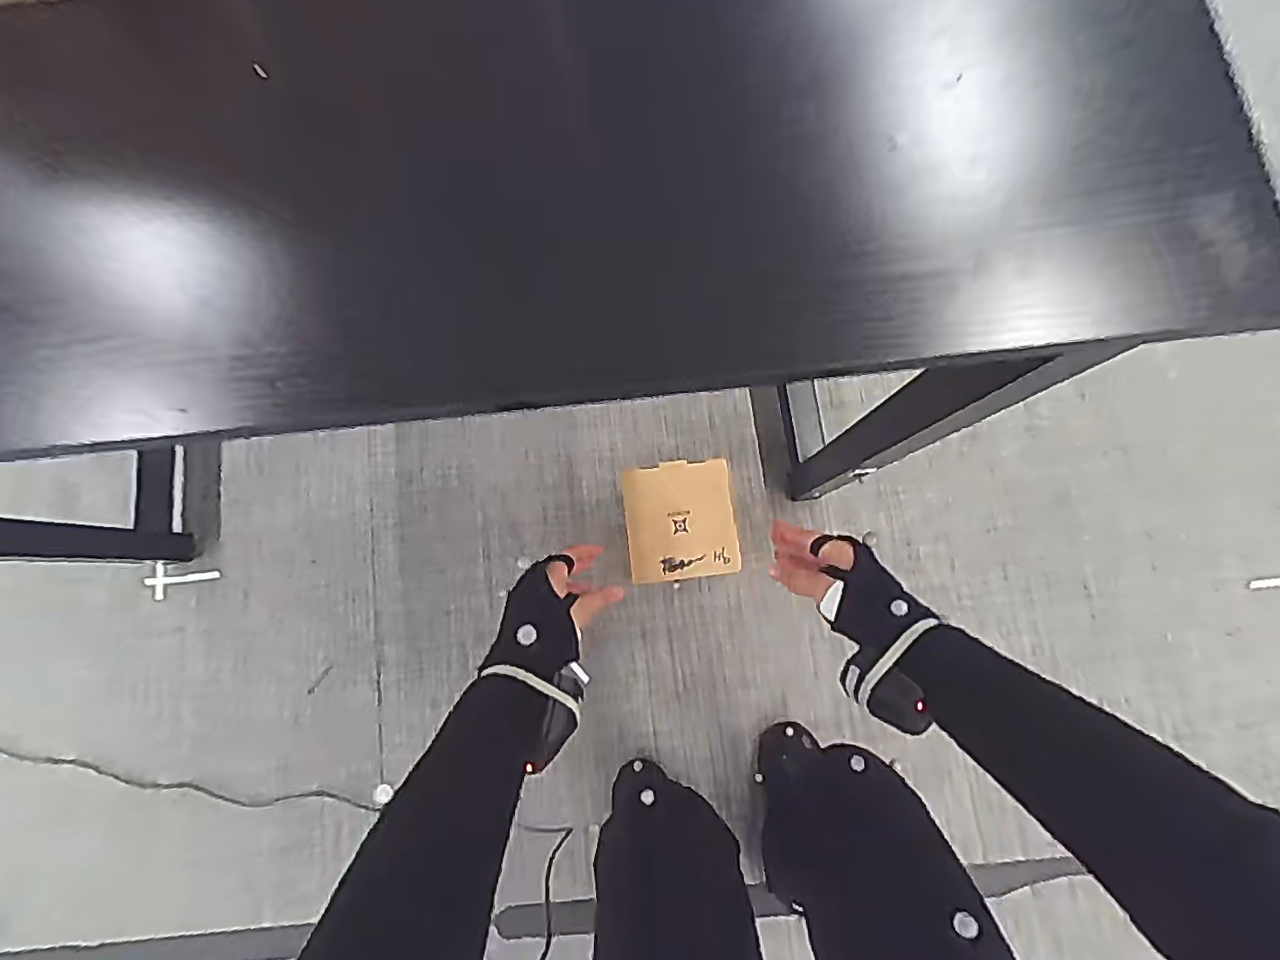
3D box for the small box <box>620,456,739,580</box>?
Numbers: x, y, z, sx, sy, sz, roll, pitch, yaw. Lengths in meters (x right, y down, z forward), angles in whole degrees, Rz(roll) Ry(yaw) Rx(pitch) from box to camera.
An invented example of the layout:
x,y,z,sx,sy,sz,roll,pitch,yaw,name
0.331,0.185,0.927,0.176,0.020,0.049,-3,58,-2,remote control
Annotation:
x,y,z,sx,sy,sz,roll,pitch,yaw,name
0.060,0.070,0.897,0.168,0.176,0.179,-7,80,1,small box
